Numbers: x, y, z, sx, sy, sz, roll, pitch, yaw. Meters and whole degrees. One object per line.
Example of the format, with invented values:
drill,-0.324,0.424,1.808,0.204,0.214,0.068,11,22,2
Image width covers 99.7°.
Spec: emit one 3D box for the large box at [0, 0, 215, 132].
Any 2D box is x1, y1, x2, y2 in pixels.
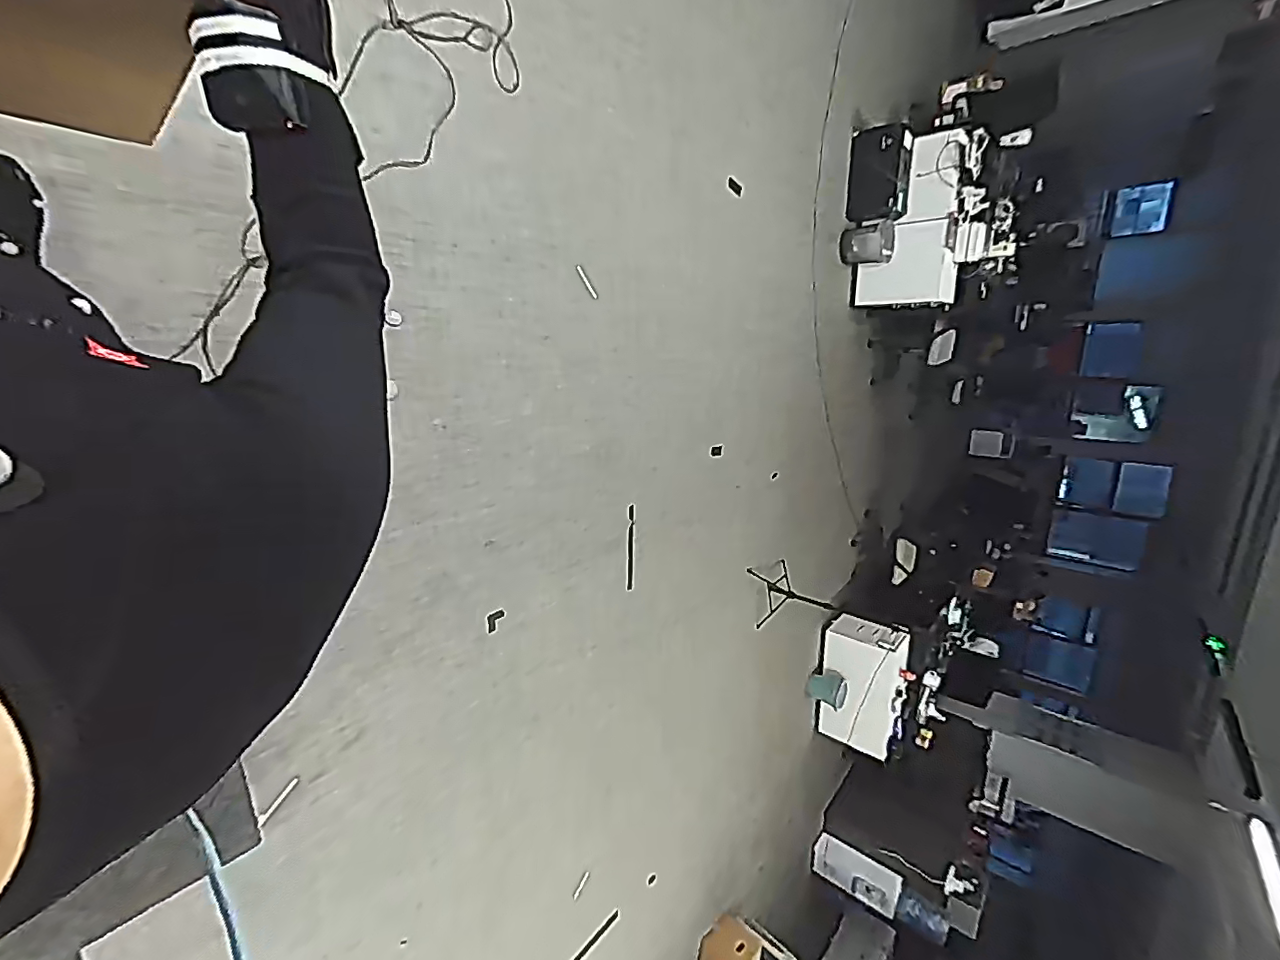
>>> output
large box,-0.510,-0.440,0.265,0.408,0.320,0.320,-15,106,-48
